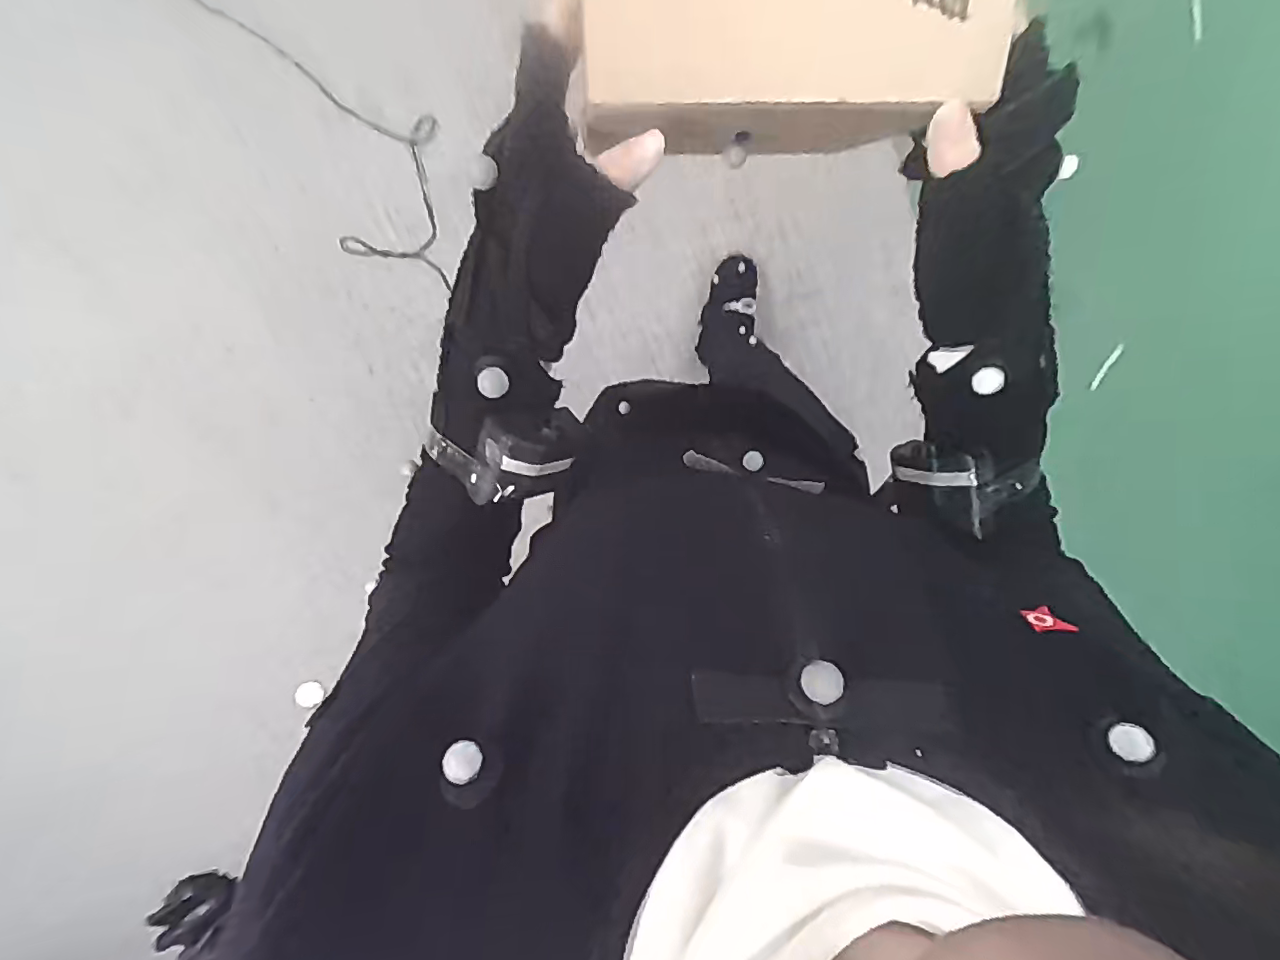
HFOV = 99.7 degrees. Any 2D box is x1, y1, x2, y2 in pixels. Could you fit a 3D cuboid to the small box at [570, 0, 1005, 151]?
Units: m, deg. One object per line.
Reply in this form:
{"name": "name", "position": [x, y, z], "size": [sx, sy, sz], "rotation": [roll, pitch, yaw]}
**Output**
{"name": "small box", "position": [0.054, -0.266, 0.261], "size": [0.179, 0.176, 0.168], "rotation": [-2, 114, -4]}
